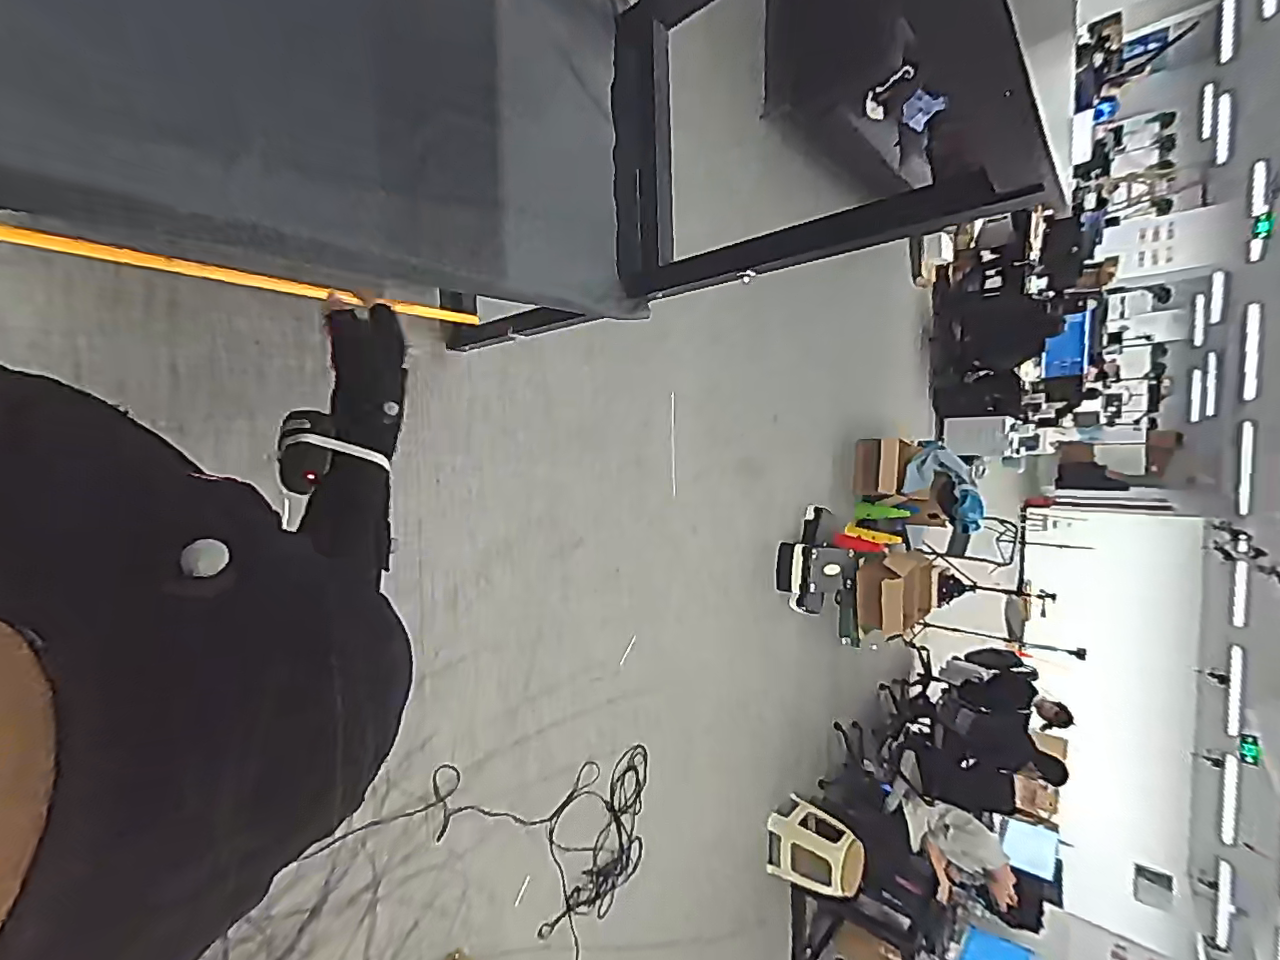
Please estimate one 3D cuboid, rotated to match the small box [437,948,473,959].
[{"bbox_3d":[-0.573,1.562,1.618,0.168,0.176,0.179,-8,99,-48],"label":"small box"}]
